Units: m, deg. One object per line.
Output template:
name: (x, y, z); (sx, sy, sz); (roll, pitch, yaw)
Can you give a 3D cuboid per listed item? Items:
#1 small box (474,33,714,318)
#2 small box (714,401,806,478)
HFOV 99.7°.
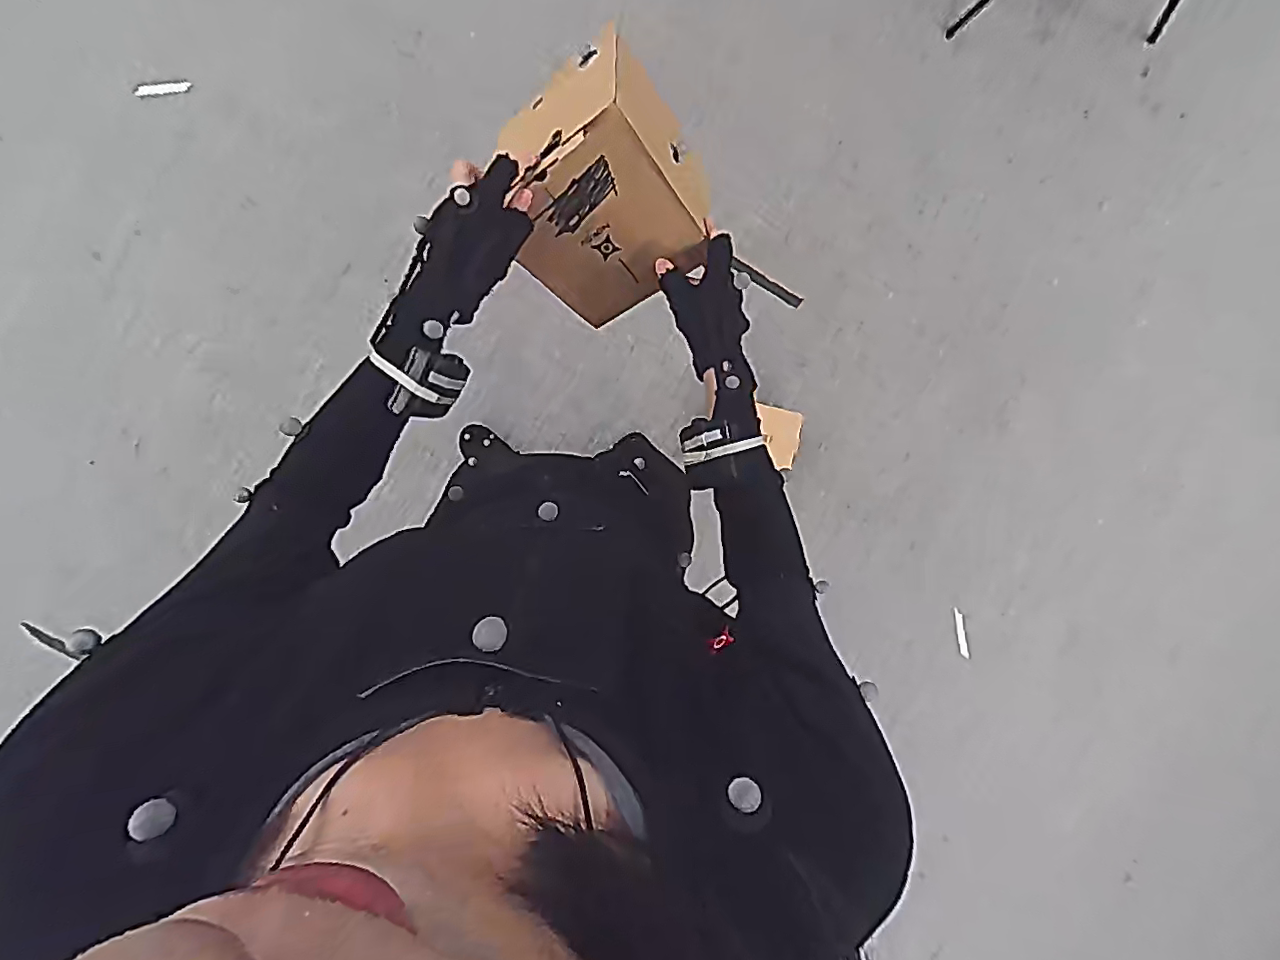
small box: (-0.043, -0.315, 0.564); (0.168, 0.176, 0.179); (-23, 141, 30)
small box: (0.312, -0.109, 1.440); (0.179, 0.176, 0.168); (12, 94, -4)
